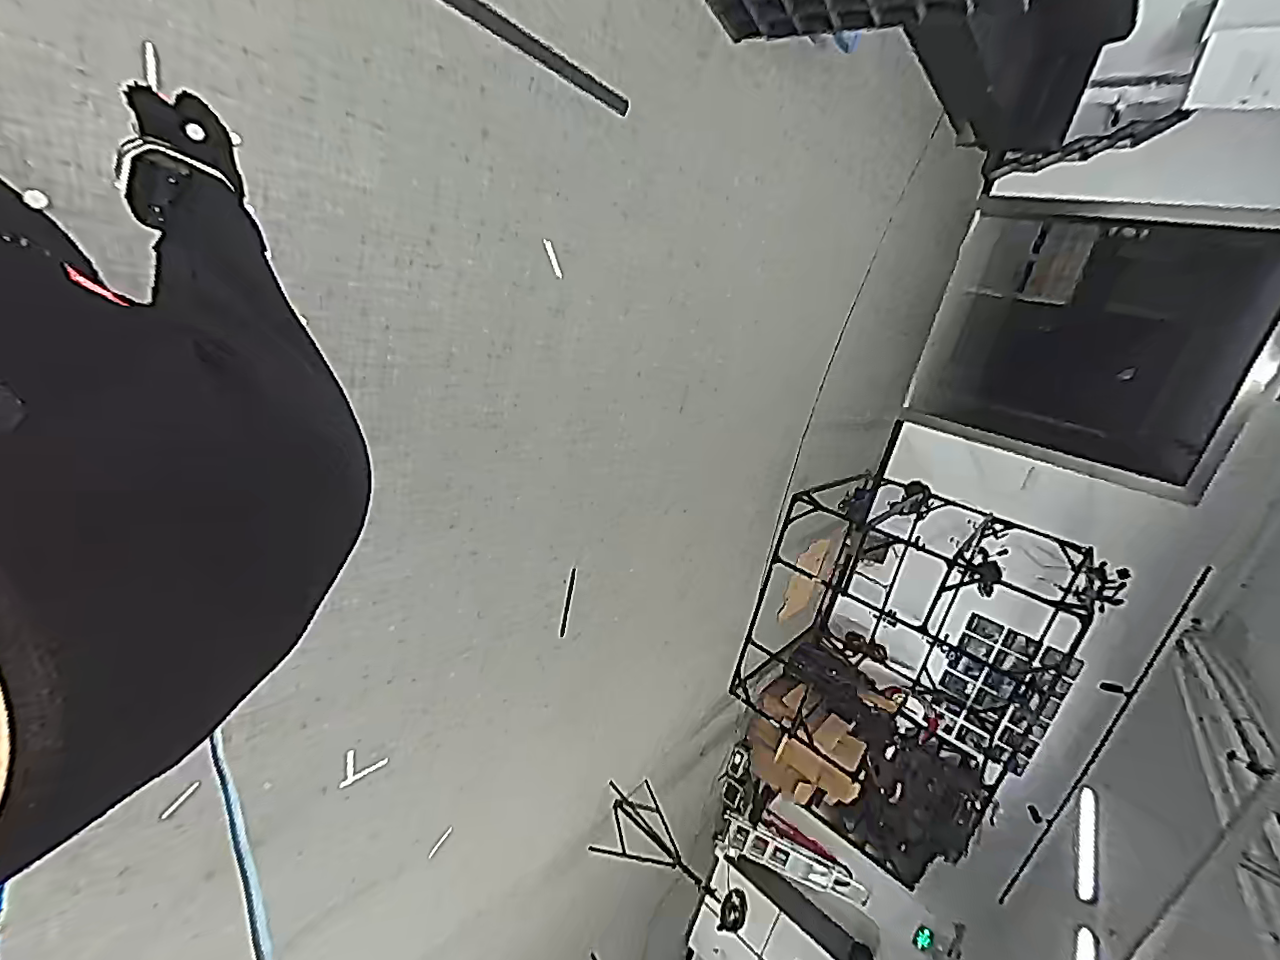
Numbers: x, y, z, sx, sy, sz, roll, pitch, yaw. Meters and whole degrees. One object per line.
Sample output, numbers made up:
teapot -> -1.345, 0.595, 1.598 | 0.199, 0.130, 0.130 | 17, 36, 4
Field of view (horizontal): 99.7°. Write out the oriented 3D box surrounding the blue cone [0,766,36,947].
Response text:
blue cone -> -1.336, 0.788, 1.078 | 0.192, 0.380, 0.193 | -15, 123, -50
